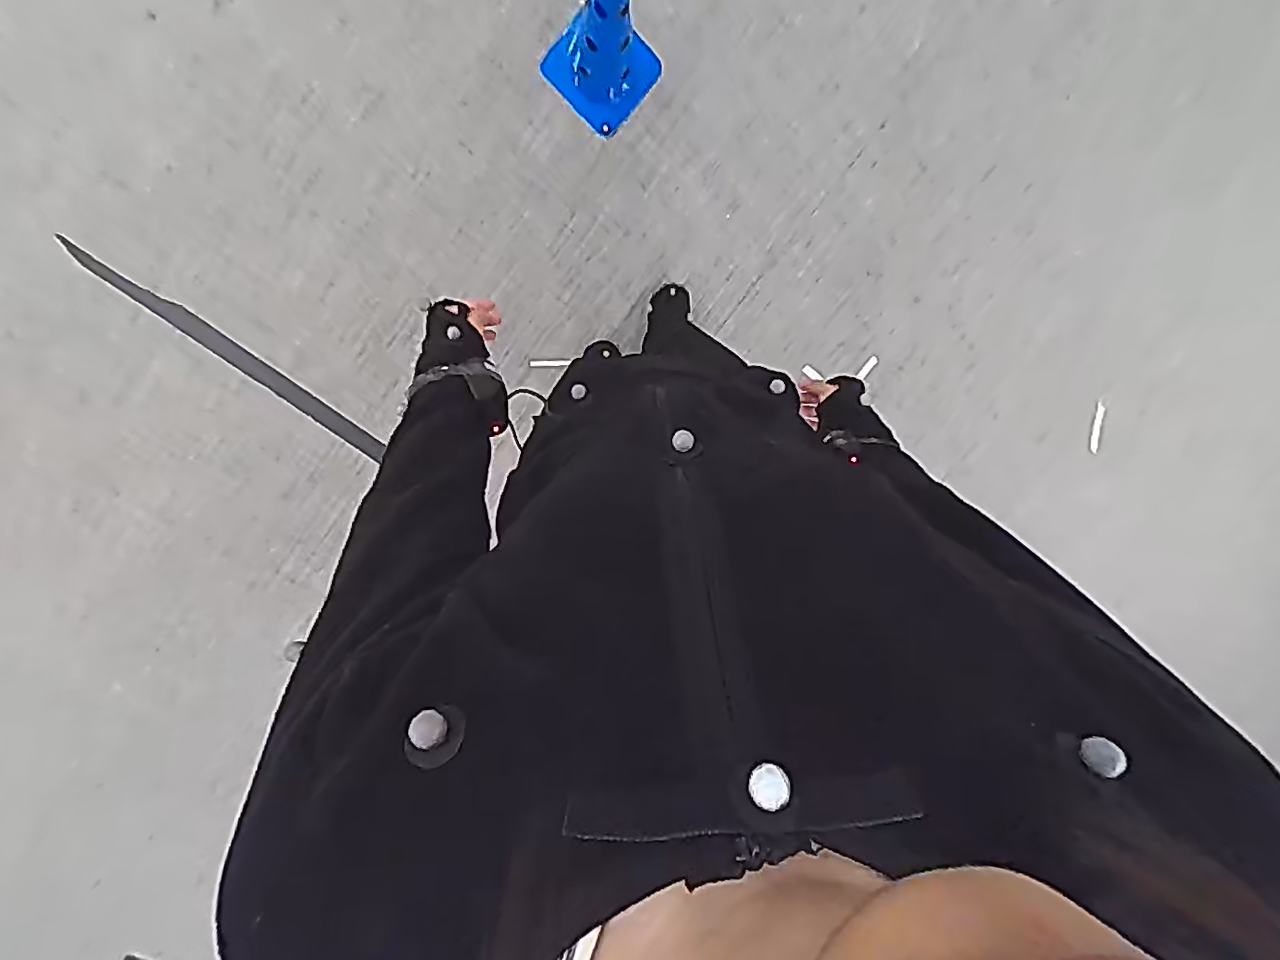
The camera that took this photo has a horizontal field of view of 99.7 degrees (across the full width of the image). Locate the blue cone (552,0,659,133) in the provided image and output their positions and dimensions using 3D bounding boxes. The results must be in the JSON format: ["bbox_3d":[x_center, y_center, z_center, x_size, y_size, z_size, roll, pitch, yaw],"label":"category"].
[{"bbox_3d":[-0.052,-0.834,1.001,0.192,0.380,0.193,41,98,-18],"label":"blue cone"}]
